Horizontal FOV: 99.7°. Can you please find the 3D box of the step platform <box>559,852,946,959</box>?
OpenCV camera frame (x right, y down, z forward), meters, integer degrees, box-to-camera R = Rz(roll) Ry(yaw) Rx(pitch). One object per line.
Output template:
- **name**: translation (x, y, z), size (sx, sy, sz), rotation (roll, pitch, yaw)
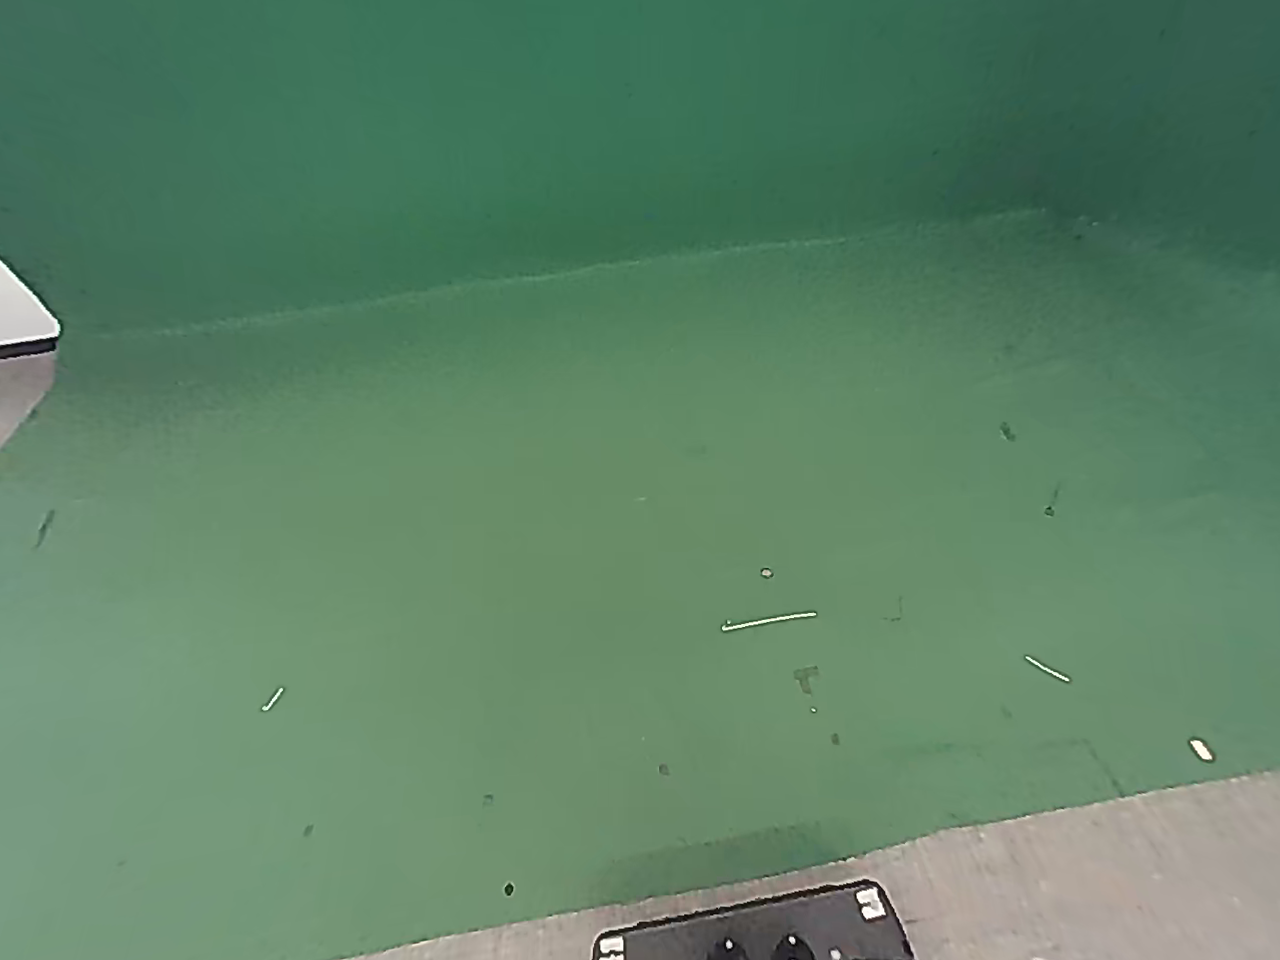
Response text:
- **step platform**: translation (0.203, 0.926, 1.005), size (0.684, 0.204, 0.286), rotation (-10, 50, -3)
